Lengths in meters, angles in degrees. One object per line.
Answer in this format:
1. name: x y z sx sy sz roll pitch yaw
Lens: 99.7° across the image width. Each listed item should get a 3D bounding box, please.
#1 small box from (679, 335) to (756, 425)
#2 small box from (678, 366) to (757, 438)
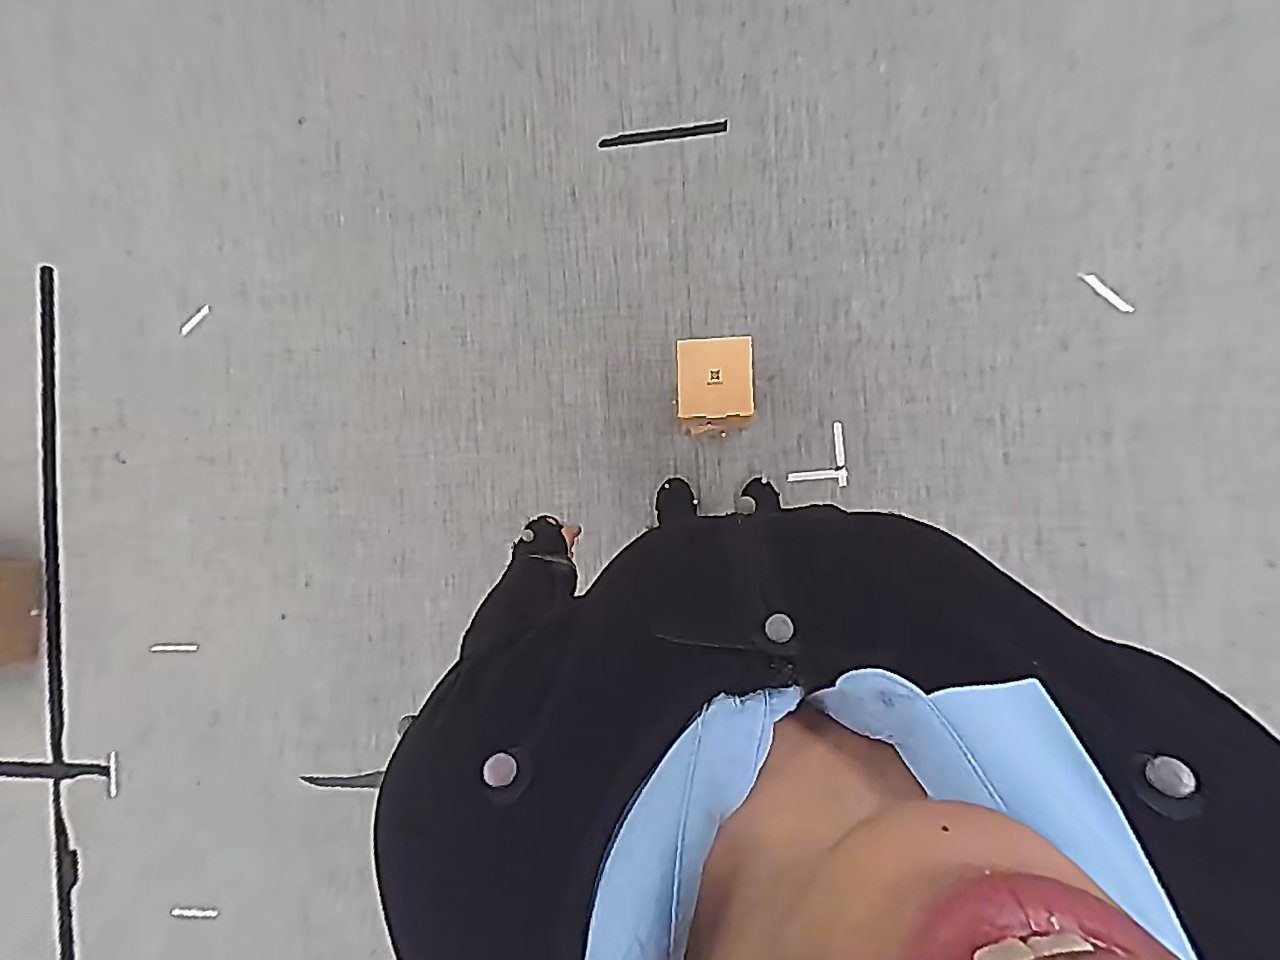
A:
1. small box: 0.176 -0.227 1.260 0.168 0.176 0.179 -2 89 6
2. small box: 0.199 -0.219 1.422 0.168 0.176 0.179 -15 88 6
